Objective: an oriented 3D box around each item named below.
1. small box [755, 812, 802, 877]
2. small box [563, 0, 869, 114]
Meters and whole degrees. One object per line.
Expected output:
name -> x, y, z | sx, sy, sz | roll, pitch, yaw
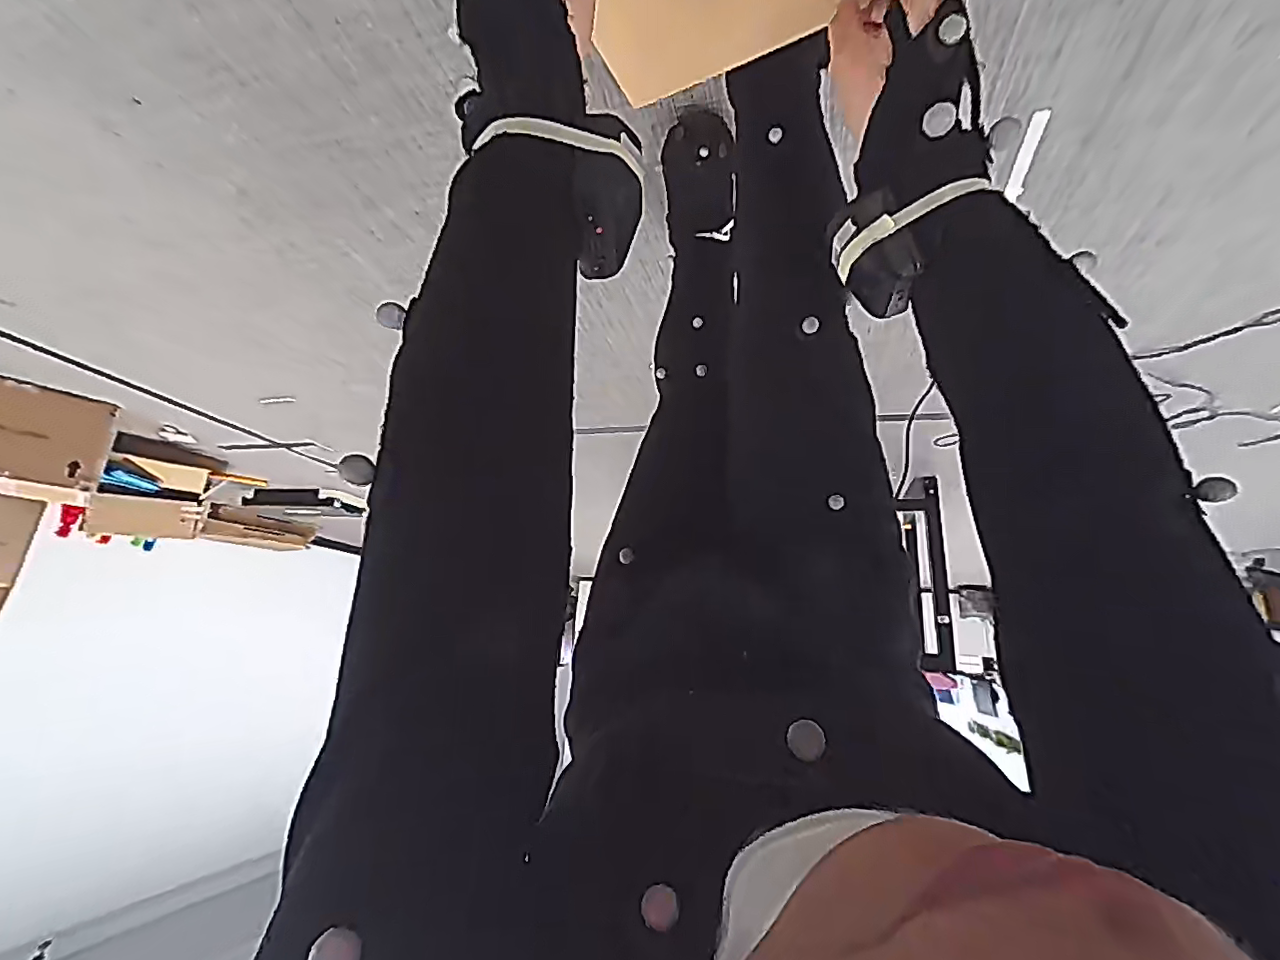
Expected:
small box -> 0.568, 1.482, 2.210 | 0.179, 0.176, 0.168 | -2, 163, 18
small box -> 0.036, -0.383, 0.327 | 0.179, 0.176, 0.168 | -4, 167, 28
